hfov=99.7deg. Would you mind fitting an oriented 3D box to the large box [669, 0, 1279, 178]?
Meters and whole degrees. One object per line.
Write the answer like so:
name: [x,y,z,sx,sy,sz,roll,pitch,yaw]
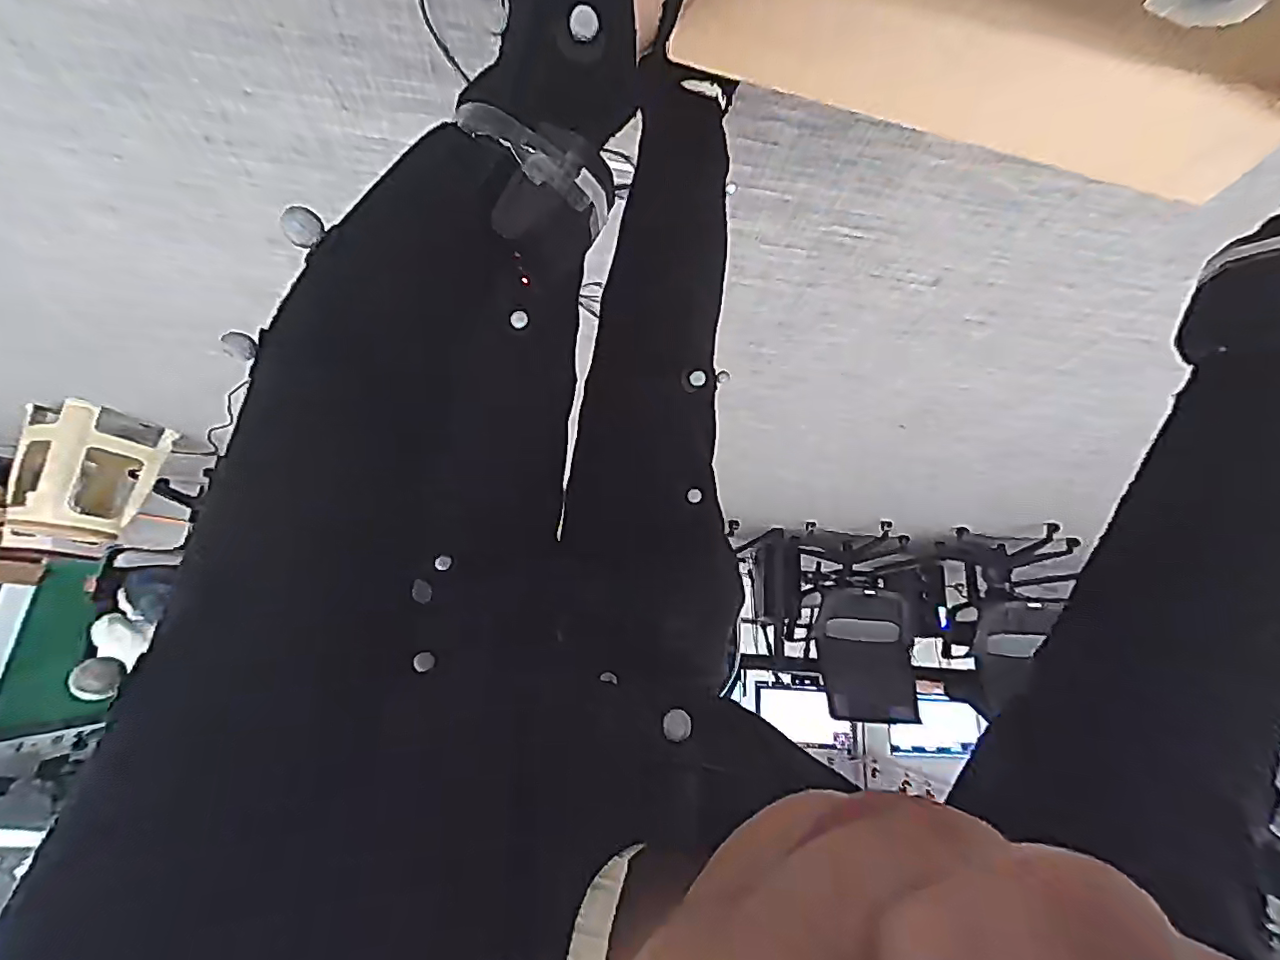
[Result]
large box: [0.244,-0.436,0.284,0.408,0.320,0.320,8,158,-9]
